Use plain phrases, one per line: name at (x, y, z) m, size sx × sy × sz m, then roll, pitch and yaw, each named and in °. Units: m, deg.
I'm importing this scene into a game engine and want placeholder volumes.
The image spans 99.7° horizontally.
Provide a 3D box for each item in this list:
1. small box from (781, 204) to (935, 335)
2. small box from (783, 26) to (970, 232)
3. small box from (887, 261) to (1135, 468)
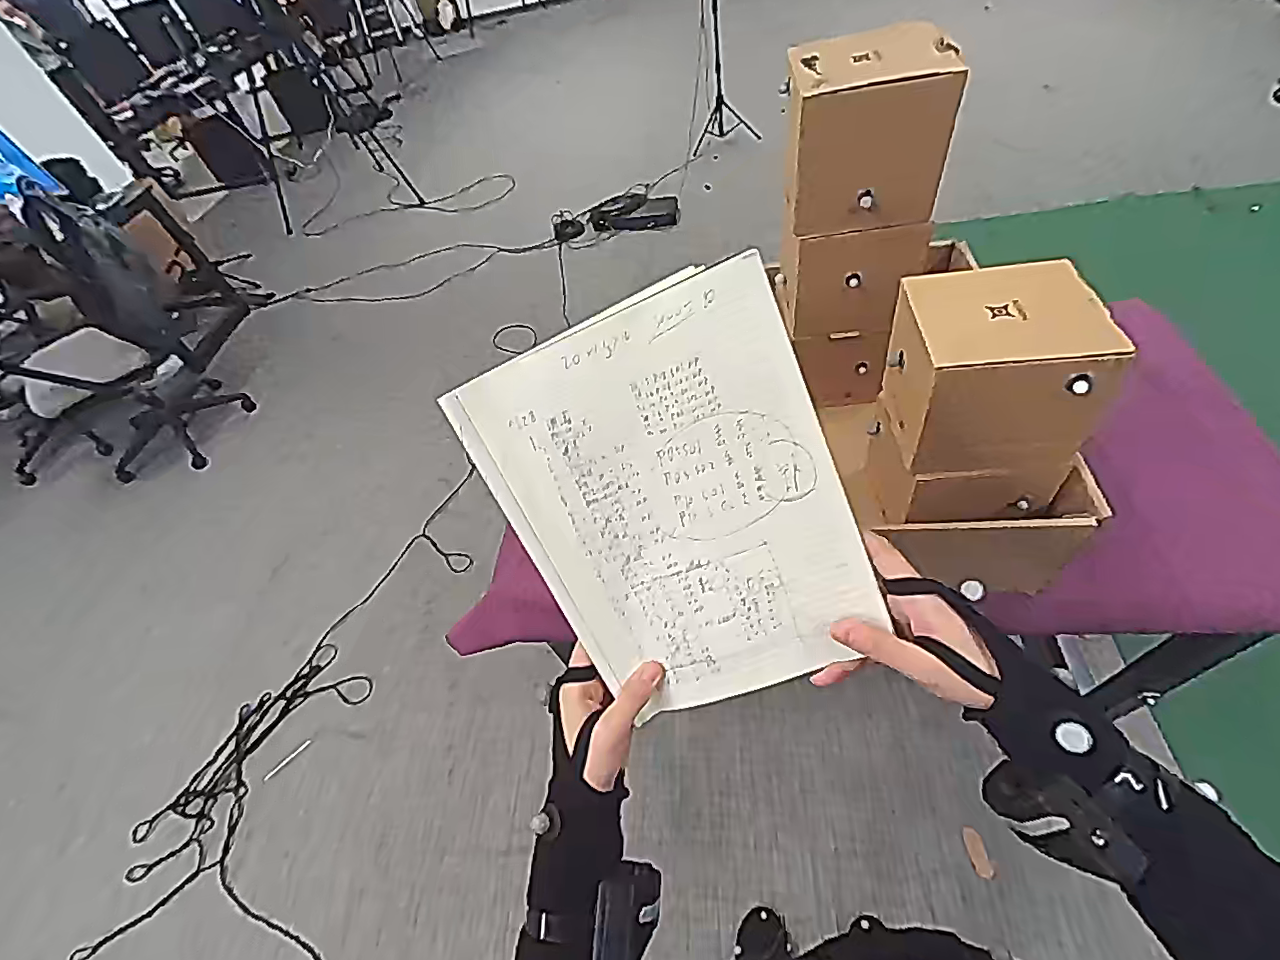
small box at (0.316, -0.344, 0.825) m, size 0.179 × 0.176 × 0.168 m, roll -5°, pitch 52°, yaw 9°
small box at (0.286, -0.446, 0.699) m, size 0.179 × 0.176 × 0.168 m, roll -2°, pitch 52°, yaw 9°
small box at (0.397, -0.126, 0.626) m, size 0.179 × 0.176 × 0.168 m, roll -2°, pitch 50°, yaw 11°
